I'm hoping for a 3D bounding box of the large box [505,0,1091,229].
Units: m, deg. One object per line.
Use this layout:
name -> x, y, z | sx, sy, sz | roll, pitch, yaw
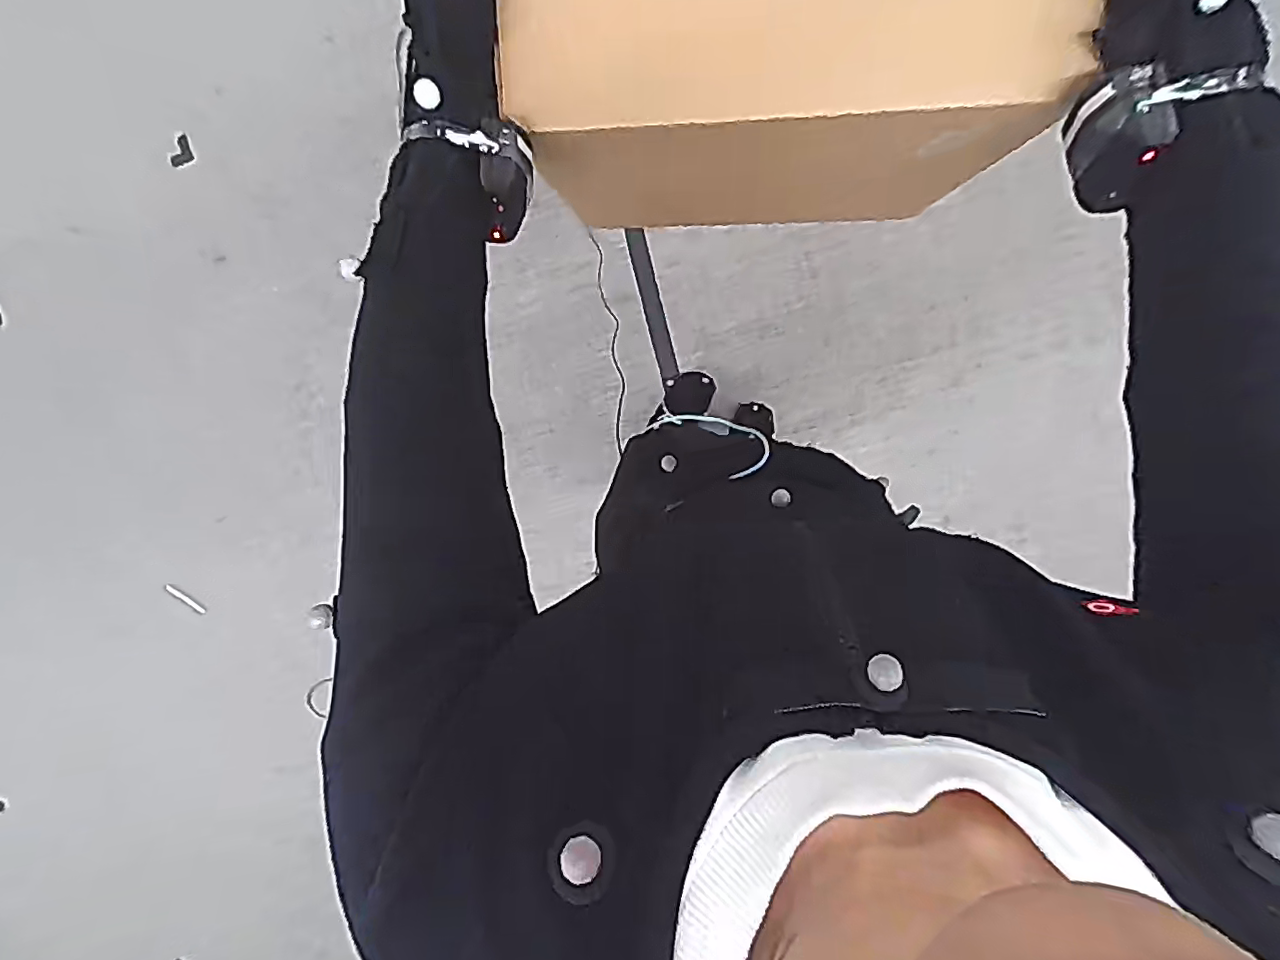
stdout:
large box -> 0.108, -0.442, 0.498 | 0.408, 0.320, 0.320 | -1, 103, 5
